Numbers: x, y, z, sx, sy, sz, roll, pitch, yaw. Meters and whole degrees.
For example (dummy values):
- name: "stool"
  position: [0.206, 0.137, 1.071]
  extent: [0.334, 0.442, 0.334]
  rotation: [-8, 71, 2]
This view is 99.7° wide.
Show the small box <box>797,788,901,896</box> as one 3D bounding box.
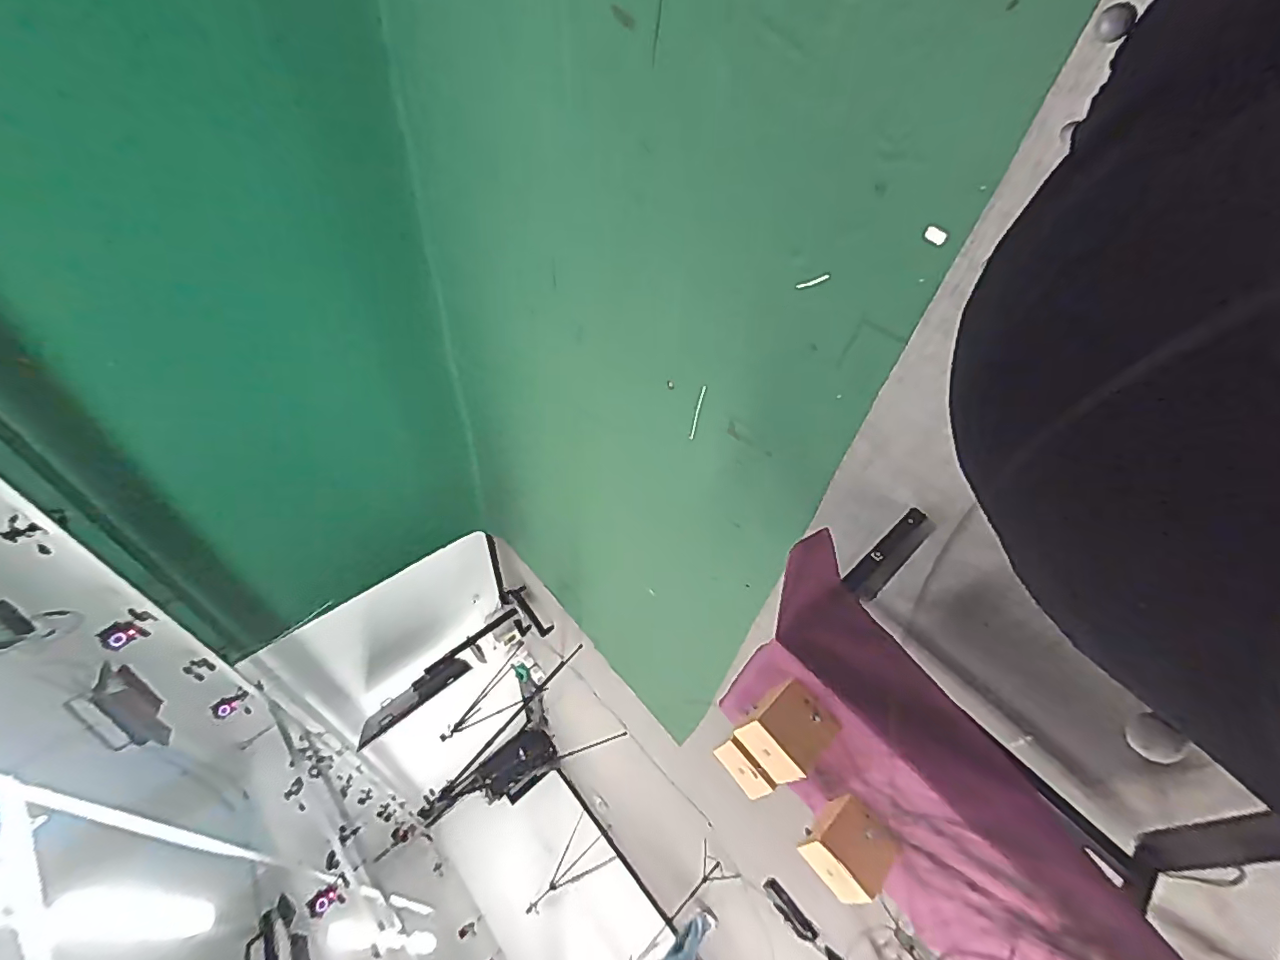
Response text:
- name: "small box"
  position: [0.558, 0.964, 1.442]
  extent: [0.168, 0.176, 0.179]
  rotation: [43, 147, 24]

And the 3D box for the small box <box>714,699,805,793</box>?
- name: "small box"
  position: [0.348, 0.770, 1.570]
  extent: [0.168, 0.176, 0.179]
  rotation: [45, 149, 20]
